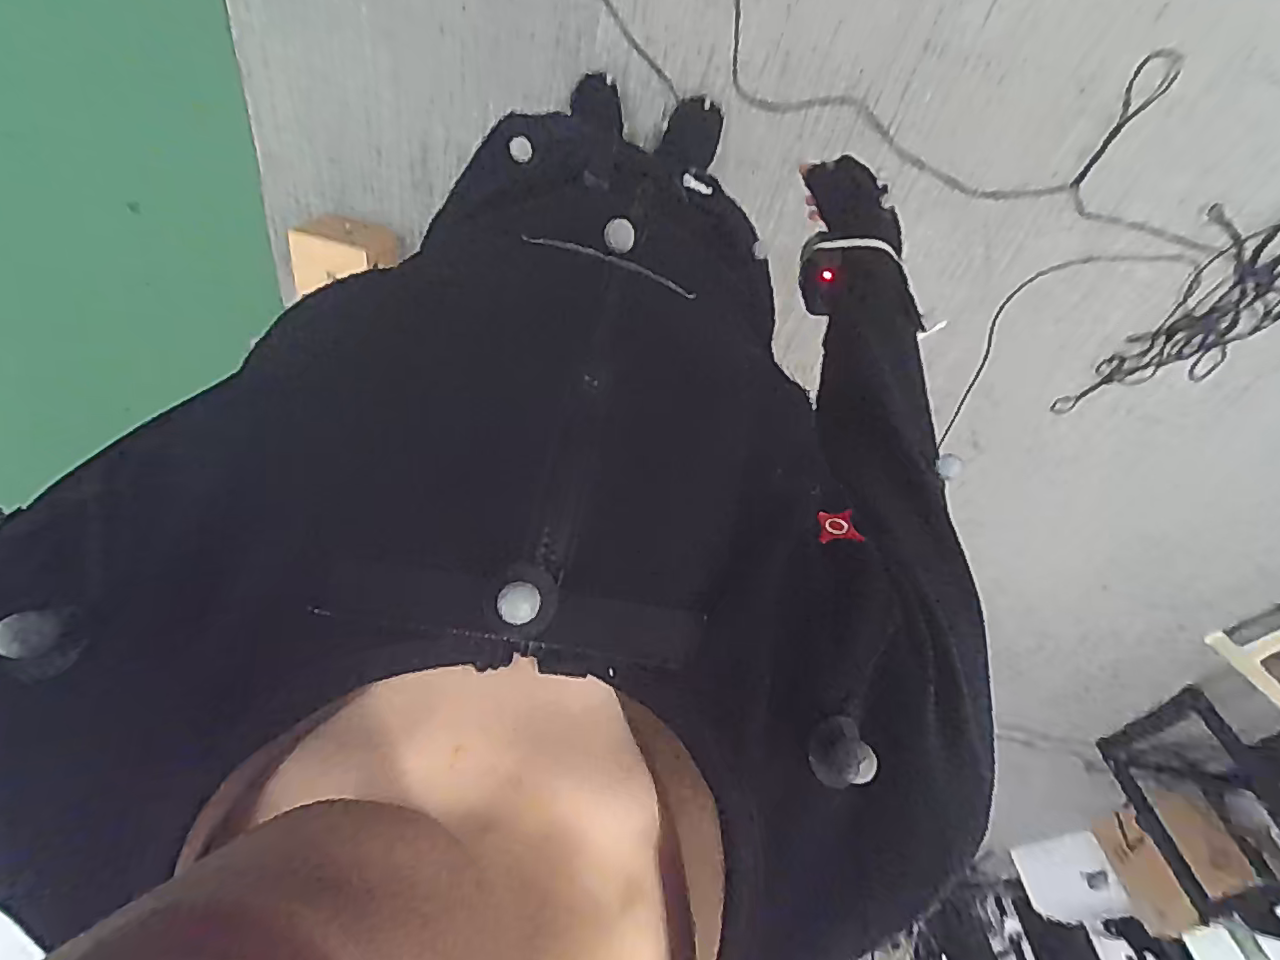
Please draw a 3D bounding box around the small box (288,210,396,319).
[{"bbox_3d":[-0.687,-0.510,1.269,0.168,0.176,0.179,13,129,-7],"label":"small box"}]
